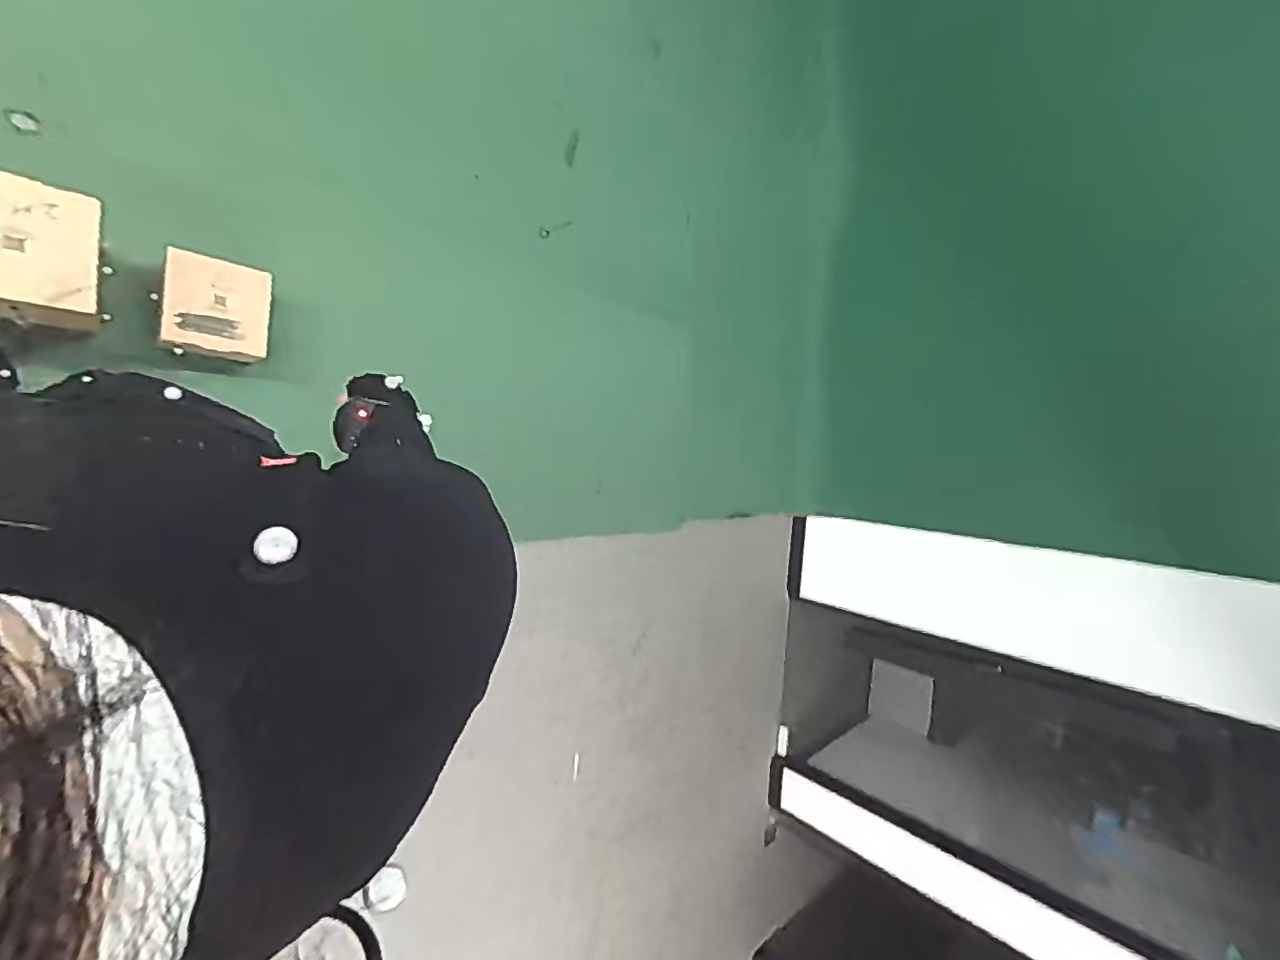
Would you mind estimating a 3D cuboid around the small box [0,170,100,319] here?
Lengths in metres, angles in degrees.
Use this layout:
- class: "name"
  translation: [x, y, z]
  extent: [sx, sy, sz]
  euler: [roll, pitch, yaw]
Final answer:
- class: "small box"
  translation: [-0.941, -0.352, 0.819]
  extent: [0.168, 0.176, 0.179]
  euler: [3, 94, -45]
